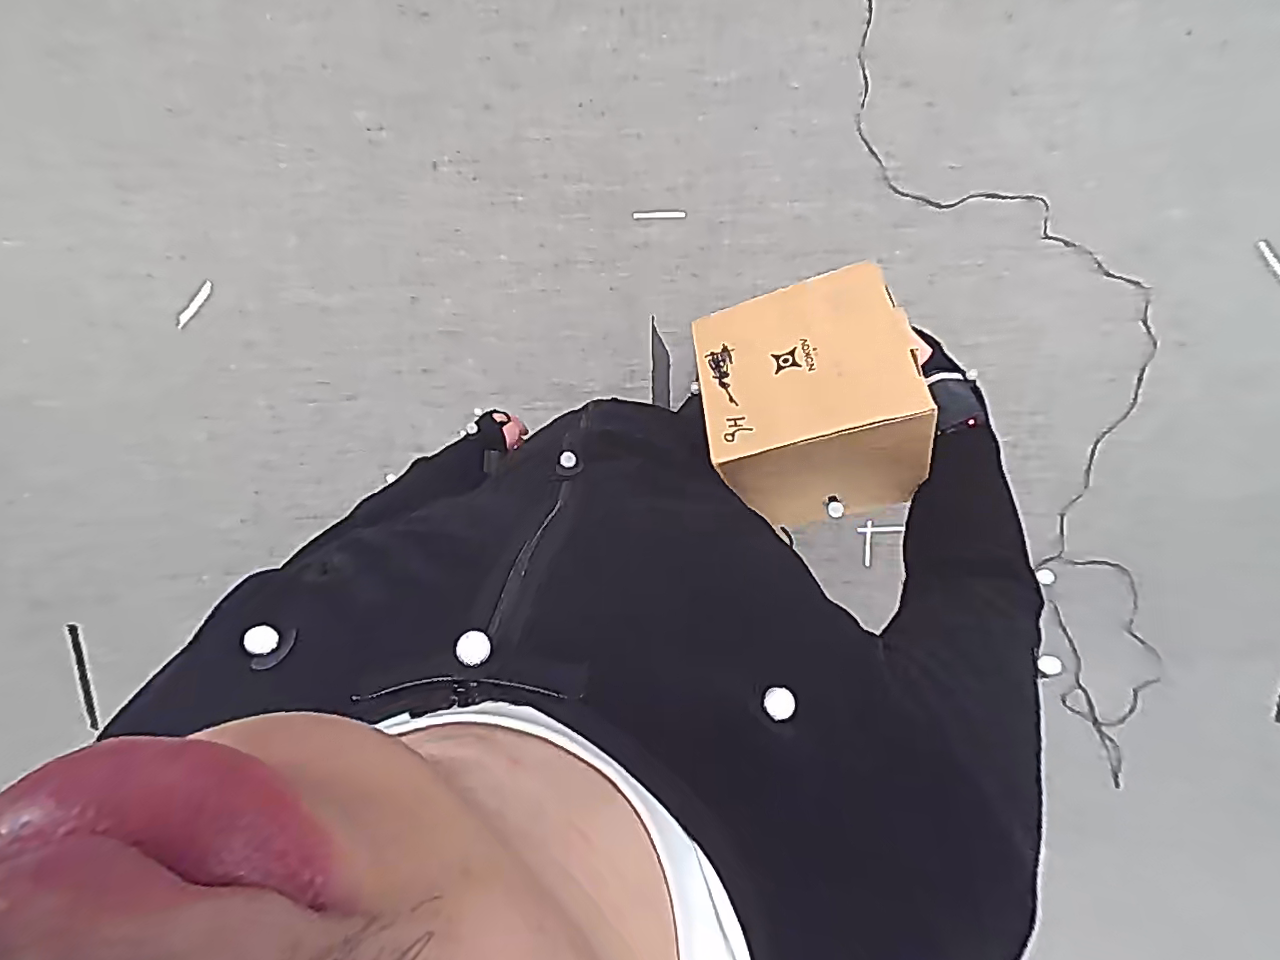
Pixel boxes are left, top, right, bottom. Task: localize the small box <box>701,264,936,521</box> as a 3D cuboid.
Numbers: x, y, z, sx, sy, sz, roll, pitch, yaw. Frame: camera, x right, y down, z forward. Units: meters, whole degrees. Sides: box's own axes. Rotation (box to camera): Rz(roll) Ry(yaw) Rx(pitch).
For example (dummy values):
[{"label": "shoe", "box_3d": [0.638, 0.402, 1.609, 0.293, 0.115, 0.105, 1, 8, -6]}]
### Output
[{"label": "small box", "box_3d": [0.174, -0.075, 0.546, 0.179, 0.176, 0.168, -14, 59, 18]}]
